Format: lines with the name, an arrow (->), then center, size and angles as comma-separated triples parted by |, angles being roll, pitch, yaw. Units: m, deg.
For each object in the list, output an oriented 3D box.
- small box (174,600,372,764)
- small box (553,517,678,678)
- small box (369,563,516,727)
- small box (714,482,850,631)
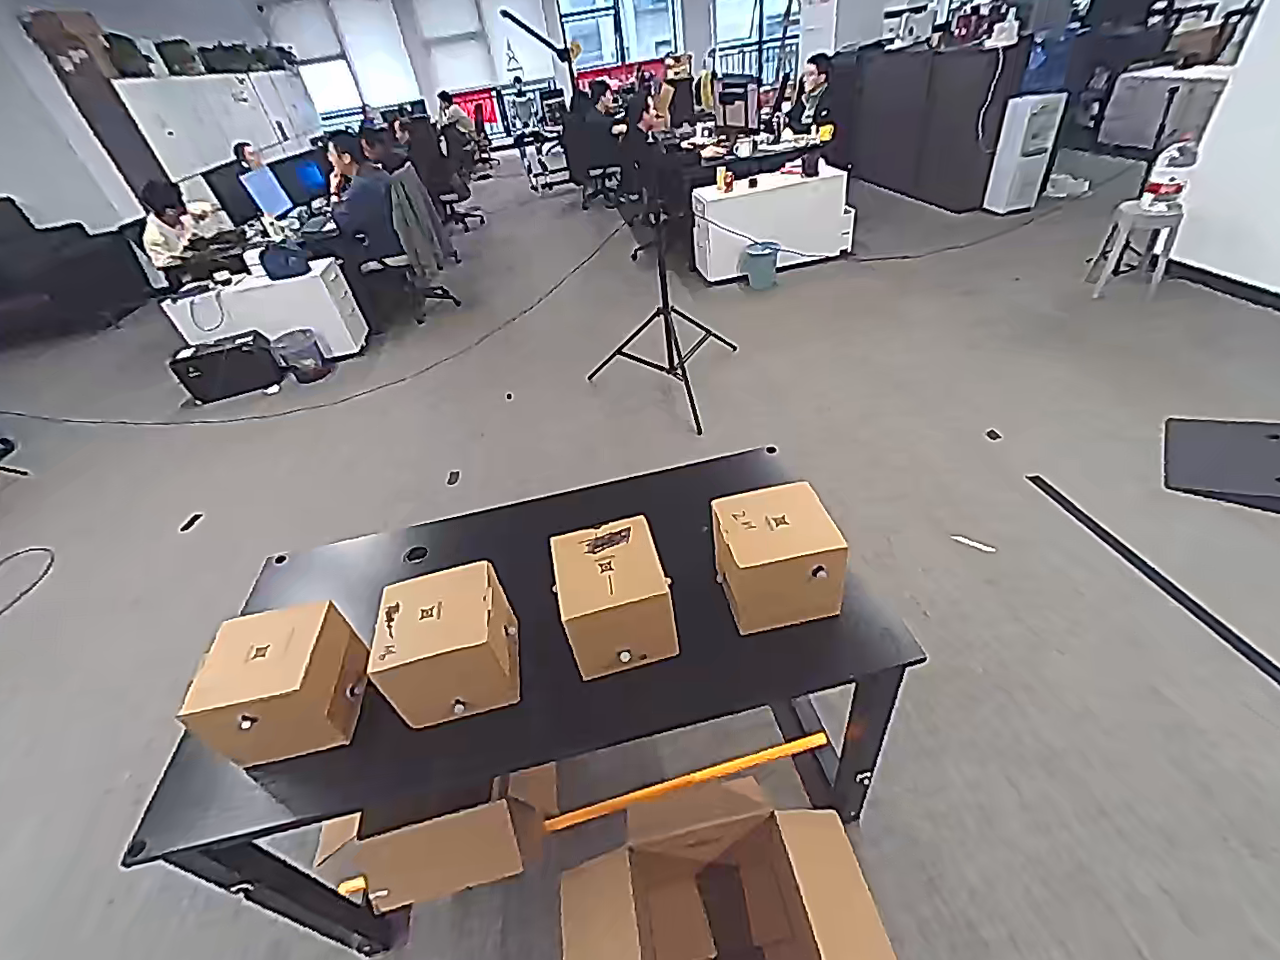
small box -> -0.559, 0.321, 0.855 | 0.179, 0.176, 0.168 | -12, 40, -4
small box -> -0.041, 0.194, 0.900 | 0.168, 0.176, 0.179 | -14, 39, -5
small box -> -0.302, 0.265, 0.870 | 0.179, 0.176, 0.168 | -13, 39, -6
small box -> 0.230, 0.130, 0.918 | 0.179, 0.176, 0.168 | -11, 38, -2
